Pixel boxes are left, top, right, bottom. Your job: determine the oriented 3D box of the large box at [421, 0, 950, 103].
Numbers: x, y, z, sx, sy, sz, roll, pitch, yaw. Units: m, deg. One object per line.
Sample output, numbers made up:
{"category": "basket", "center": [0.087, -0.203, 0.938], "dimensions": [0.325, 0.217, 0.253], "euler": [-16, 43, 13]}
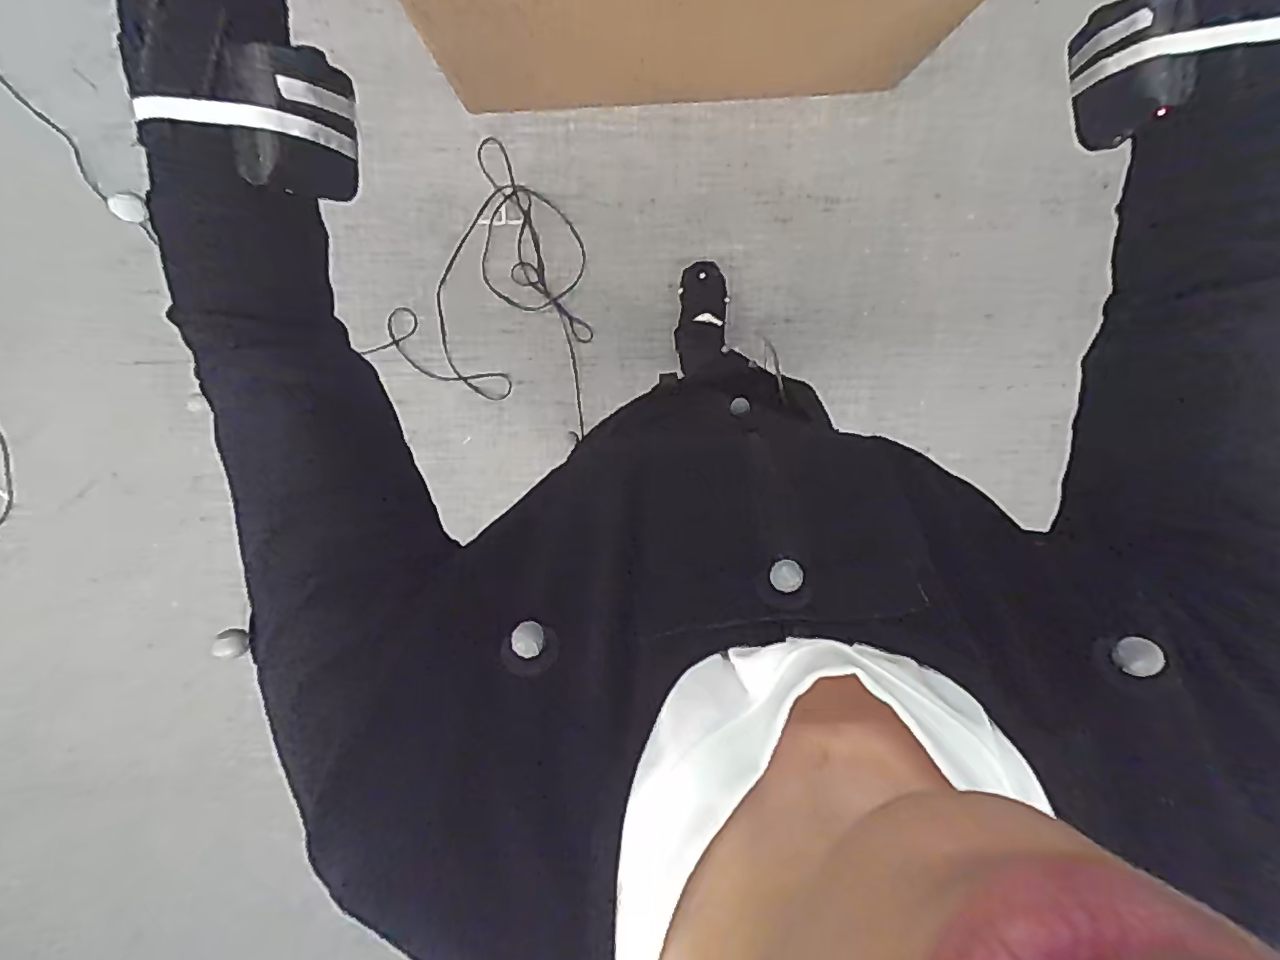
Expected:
{"category": "large box", "center": [0.034, -0.482, 0.329], "dimensions": [0.408, 0.320, 0.320], "euler": [-5, 103, -2]}
